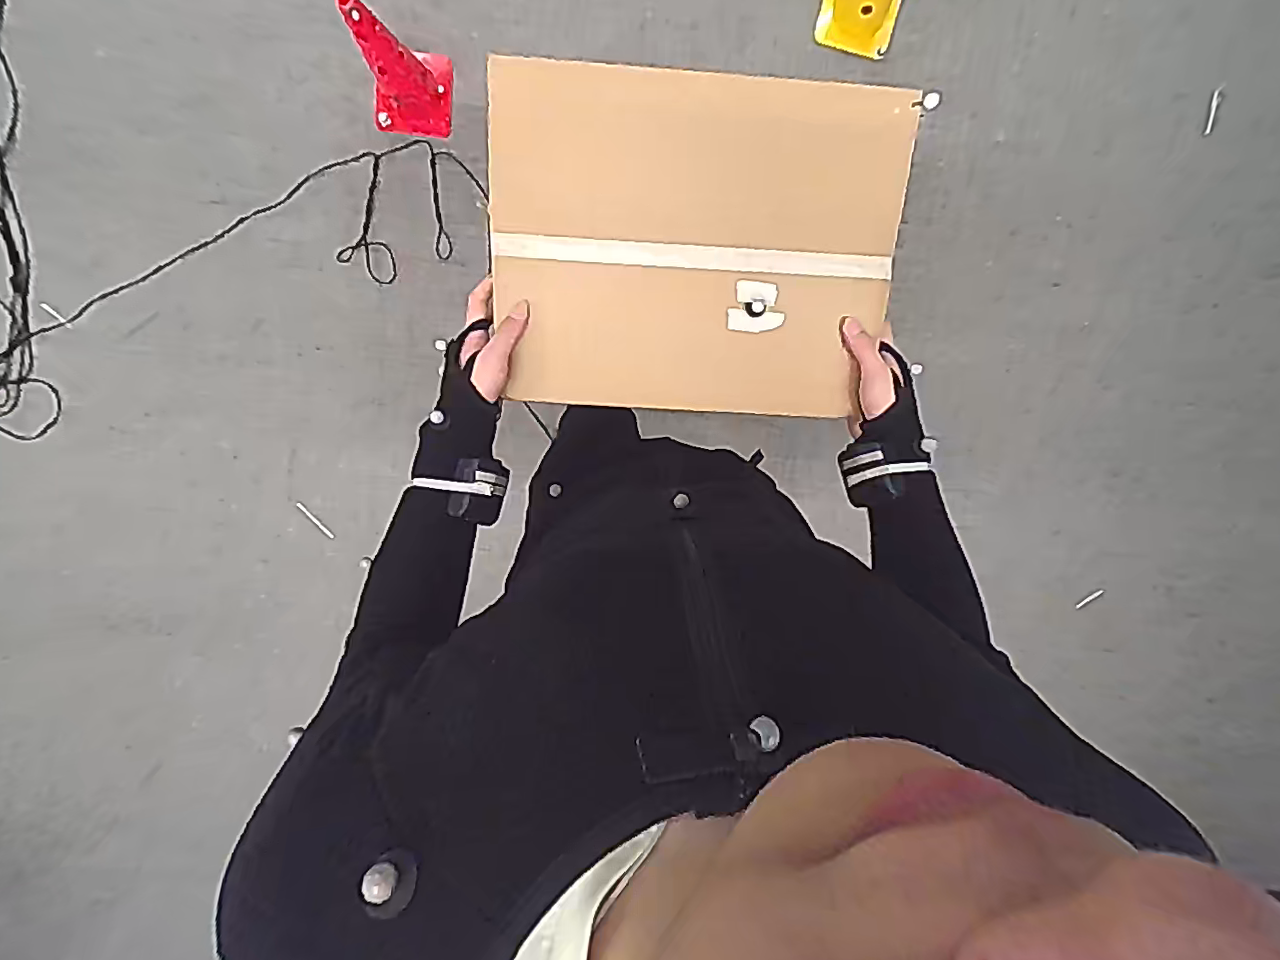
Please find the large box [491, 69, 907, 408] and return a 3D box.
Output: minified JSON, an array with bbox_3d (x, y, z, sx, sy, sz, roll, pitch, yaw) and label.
[{"bbox_3d":[0.047,-0.274,0.695,0.408,0.320,0.320,2,108,-3],"label":"large box"}]
